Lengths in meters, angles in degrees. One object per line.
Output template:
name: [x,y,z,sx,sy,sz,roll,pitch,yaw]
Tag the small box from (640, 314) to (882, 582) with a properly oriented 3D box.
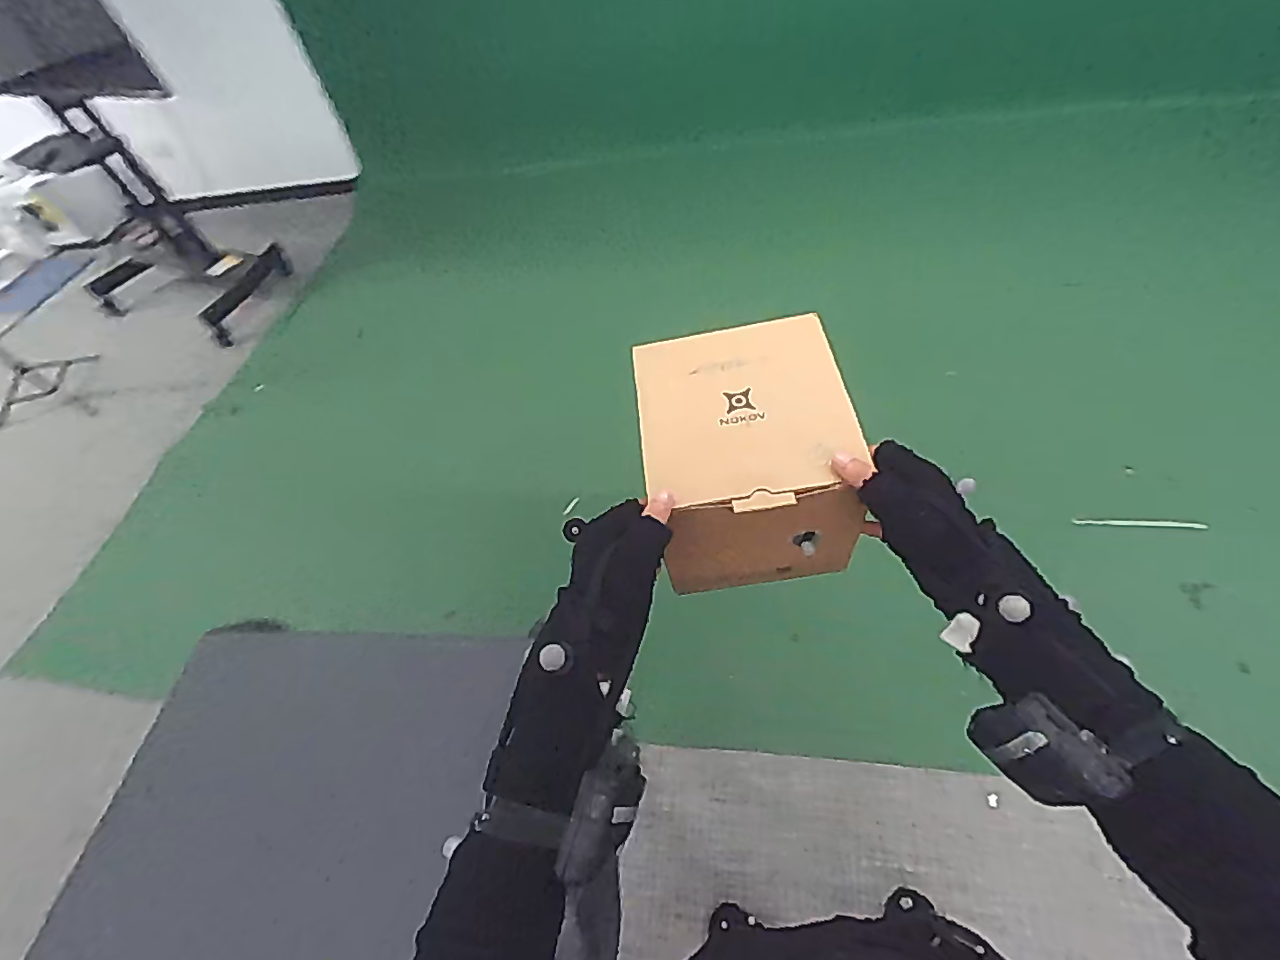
small box: [0.100,-0.018,0.497,0.168,0.176,0.179,-9,56,5]
